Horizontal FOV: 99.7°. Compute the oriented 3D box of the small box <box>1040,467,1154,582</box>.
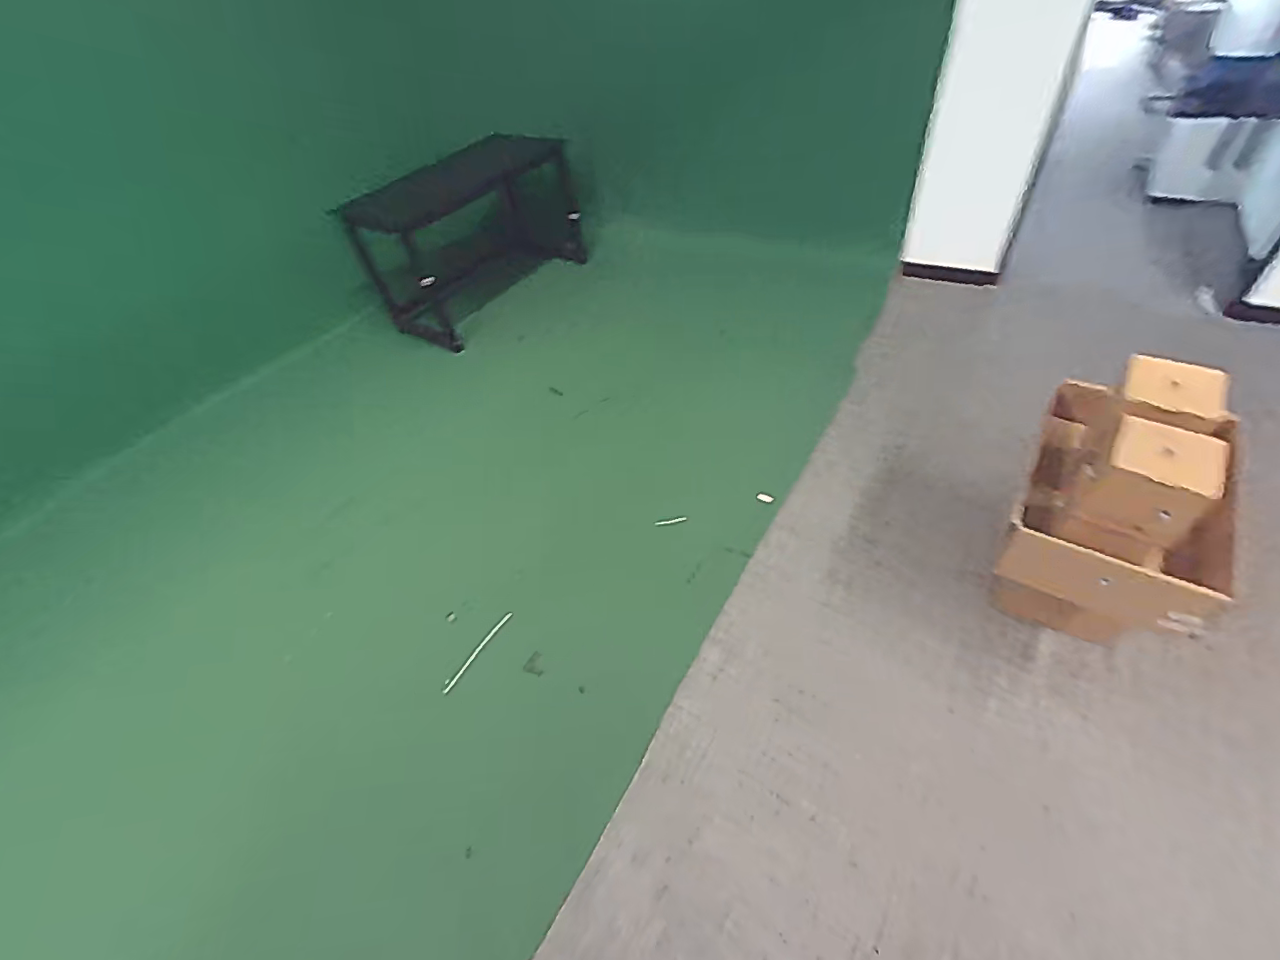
[{"bbox_3d":[1.073,0.106,1.265,0.168,0.176,0.179,24,55,28],"label":"small box"}]

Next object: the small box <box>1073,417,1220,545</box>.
[{"bbox_3d":[1.055,0.005,1.138,0.168,0.176,0.179,27,56,29],"label":"small box"}]

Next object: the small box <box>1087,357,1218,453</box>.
[{"bbox_3d":[1.191,-0.154,1.267,0.168,0.176,0.179,24,58,27],"label":"small box"}]
